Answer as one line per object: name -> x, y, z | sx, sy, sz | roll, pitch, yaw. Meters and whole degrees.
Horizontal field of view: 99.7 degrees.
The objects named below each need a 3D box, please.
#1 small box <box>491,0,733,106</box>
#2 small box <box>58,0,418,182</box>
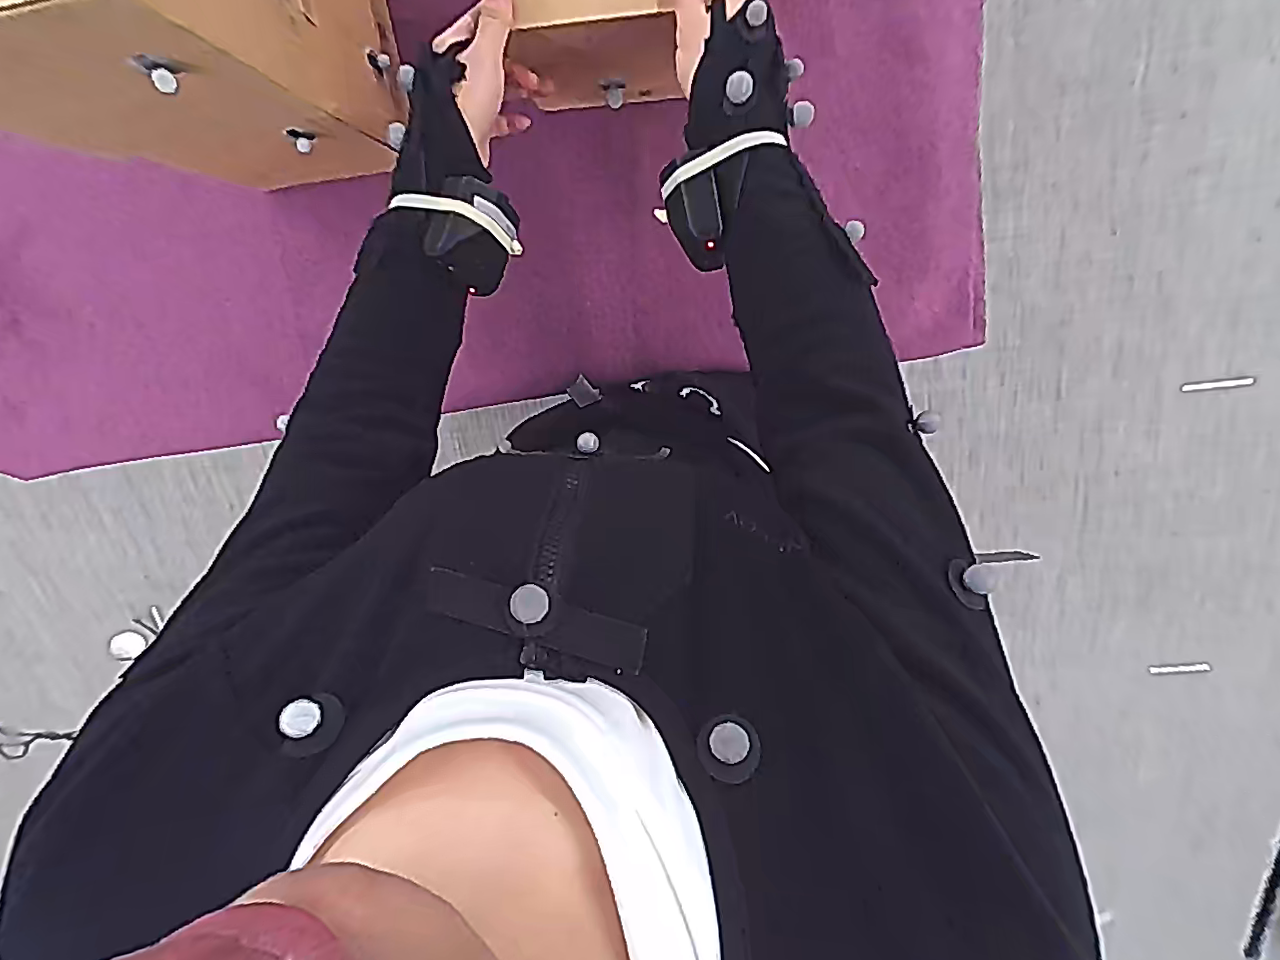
small box -> -0.020, -0.420, 0.413 | 0.168, 0.176, 0.179 | -3, 109, 4
small box -> -0.317, -0.363, 0.447 | 0.179, 0.176, 0.168 | -7, 107, 4
